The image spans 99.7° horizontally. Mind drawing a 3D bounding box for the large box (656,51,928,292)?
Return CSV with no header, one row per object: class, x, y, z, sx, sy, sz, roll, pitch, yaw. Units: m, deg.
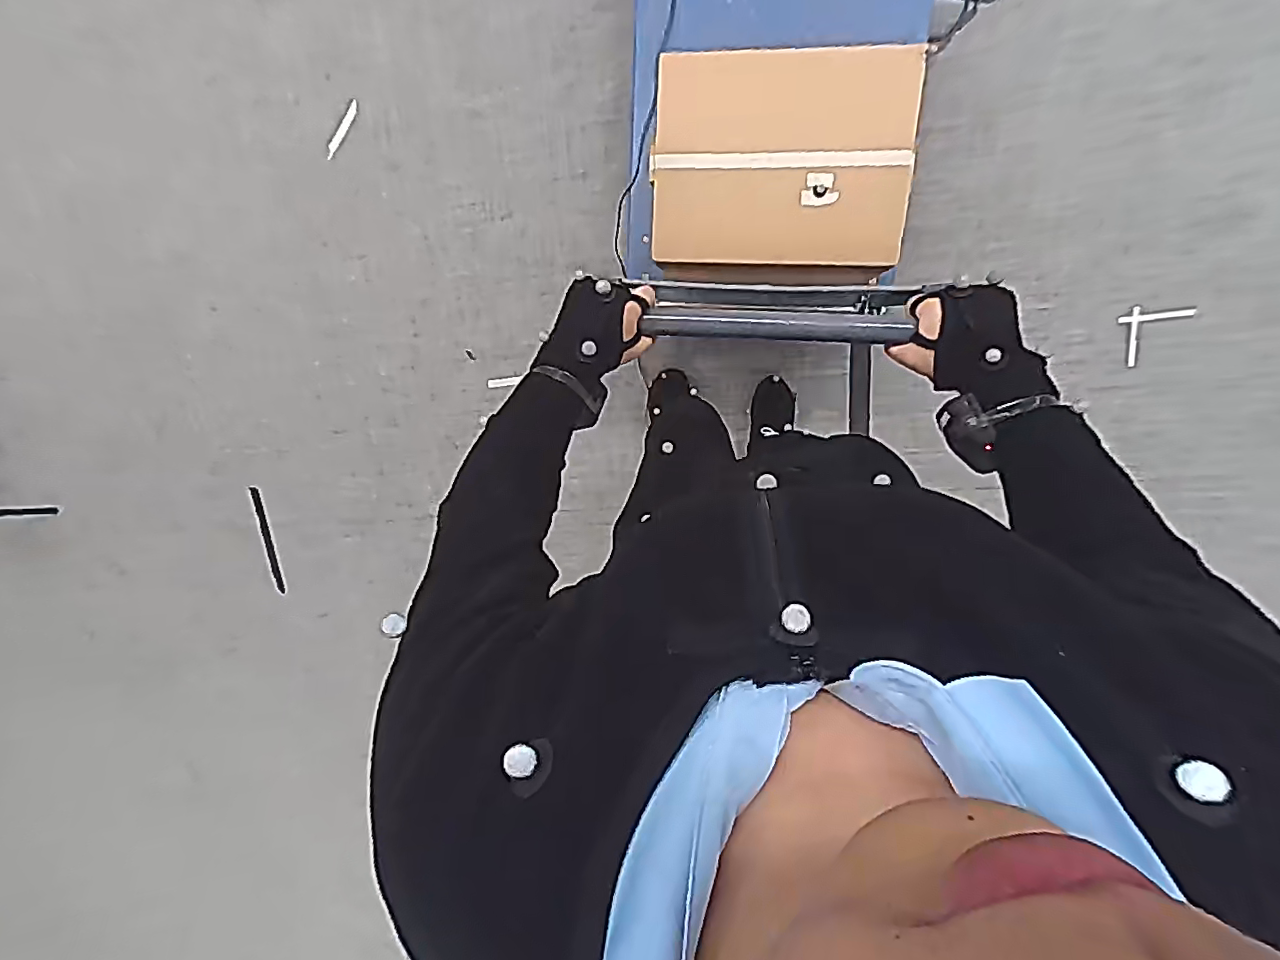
large box,0.245,-0.526,0.998,0.408,0.320,0.320,4,104,7
